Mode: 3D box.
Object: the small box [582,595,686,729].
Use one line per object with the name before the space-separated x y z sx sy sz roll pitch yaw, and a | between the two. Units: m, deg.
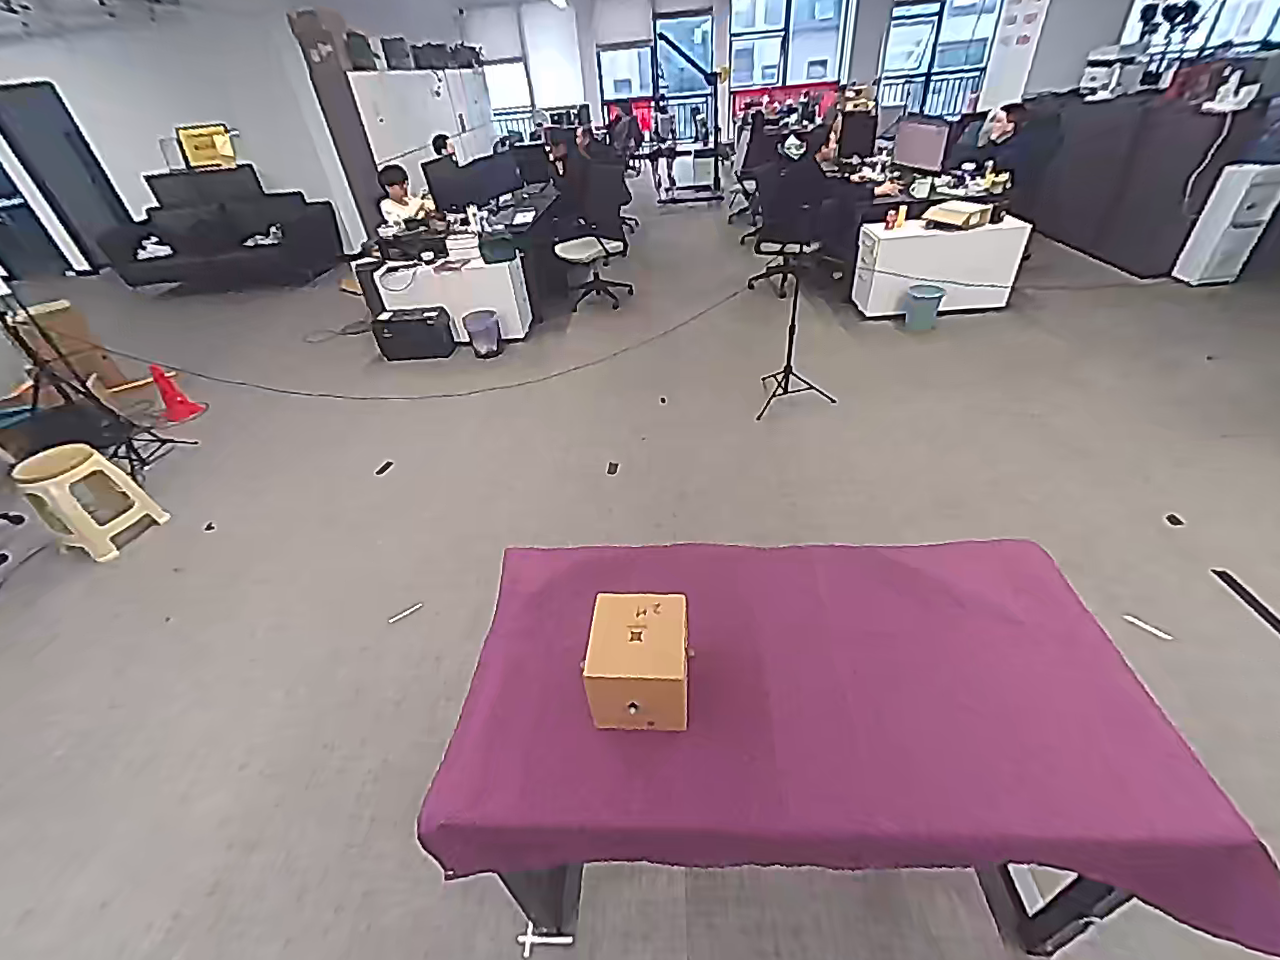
small box | -0.001 0.331 0.983 0.168 0.176 0.179 0 38 6
